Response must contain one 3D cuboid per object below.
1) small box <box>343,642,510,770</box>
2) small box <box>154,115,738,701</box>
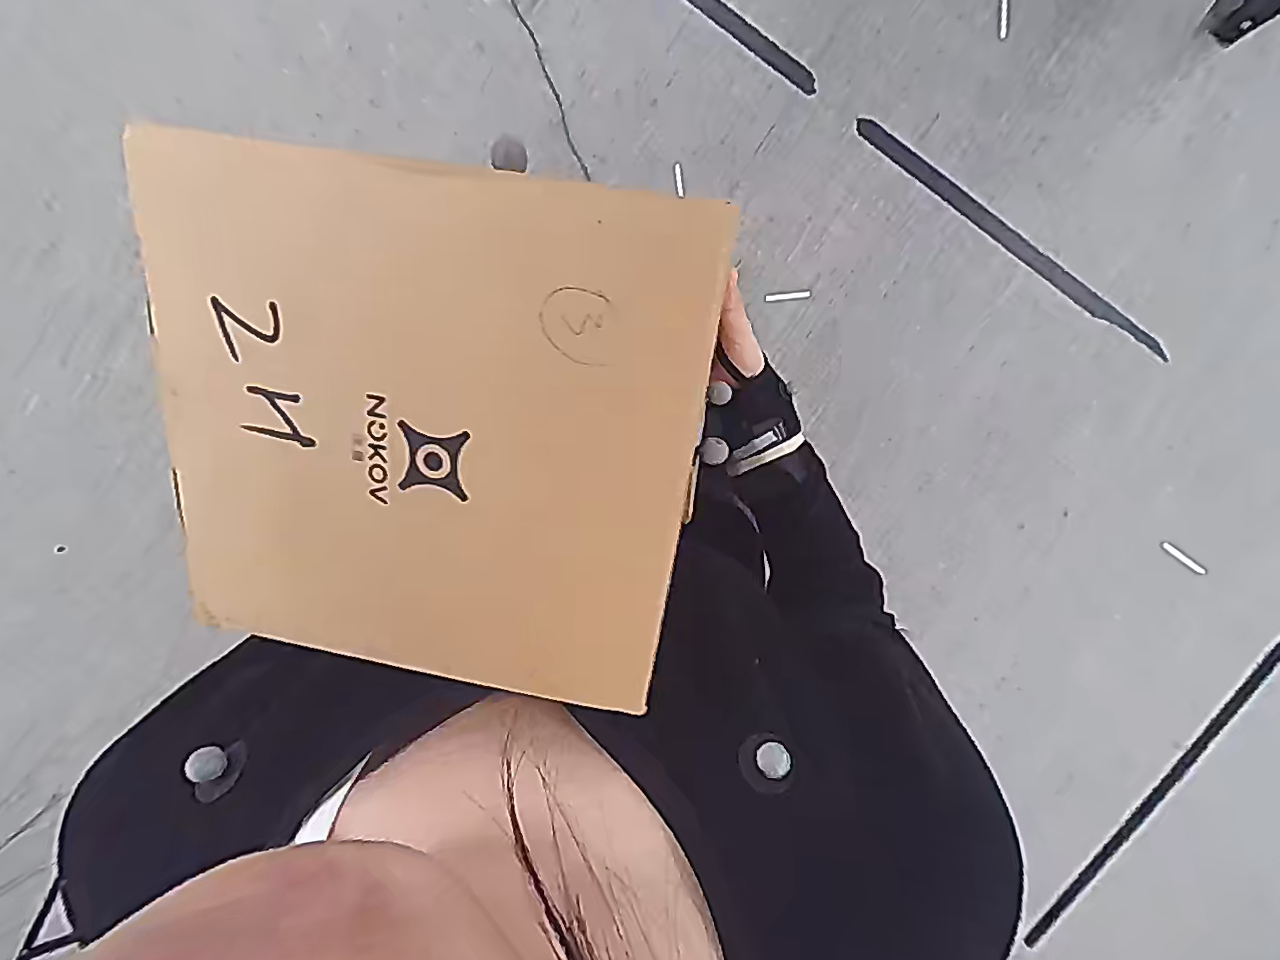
[{"bbox_3d":[-0.290,0.279,0.811,0.179,0.176,0.168,32,96,-4],"label":"small box"},{"bbox_3d":[-0.060,-0.038,0.252,0.179,0.176,0.168,14,110,5],"label":"small box"}]
